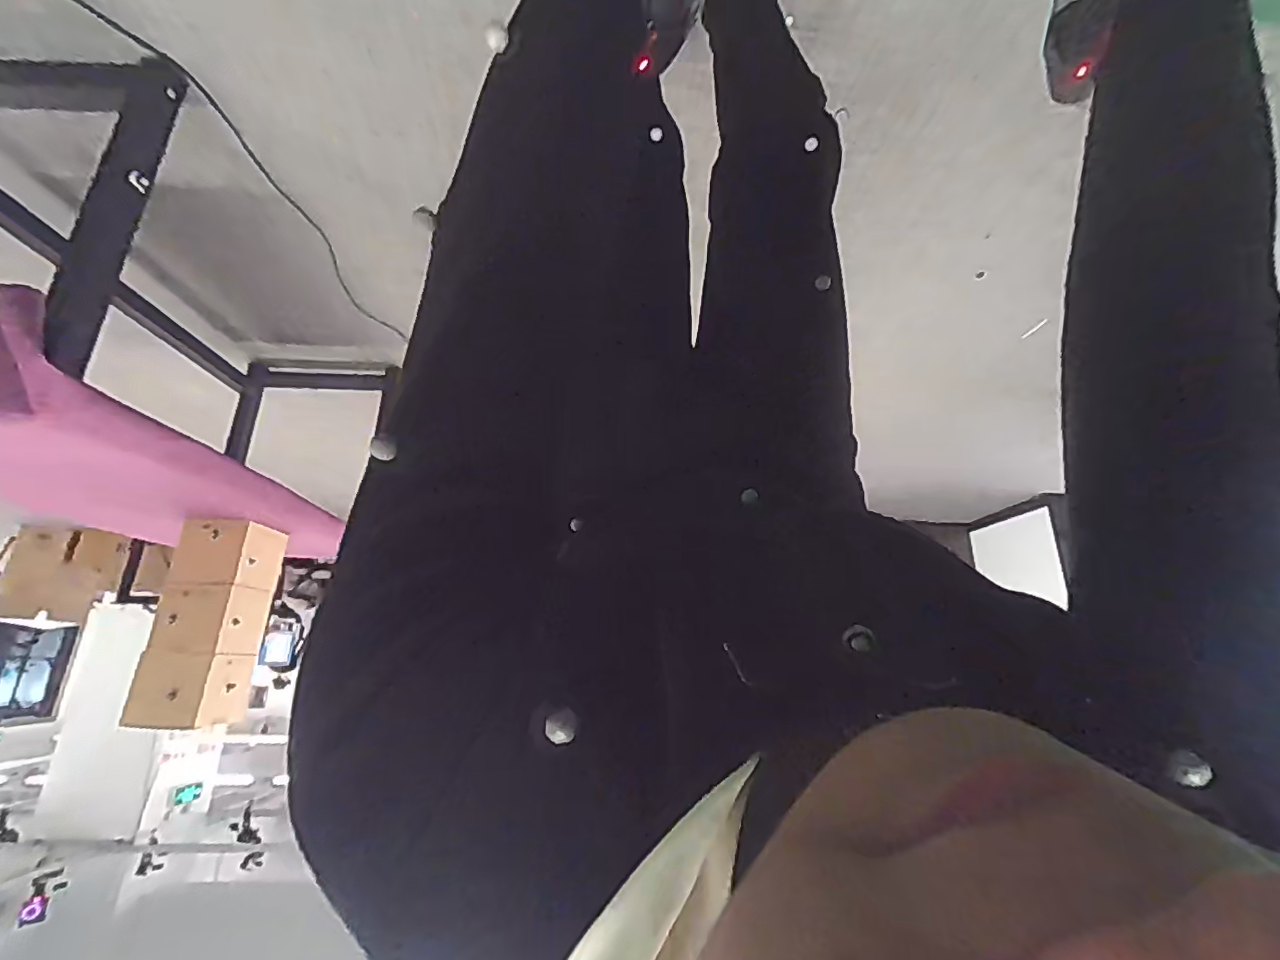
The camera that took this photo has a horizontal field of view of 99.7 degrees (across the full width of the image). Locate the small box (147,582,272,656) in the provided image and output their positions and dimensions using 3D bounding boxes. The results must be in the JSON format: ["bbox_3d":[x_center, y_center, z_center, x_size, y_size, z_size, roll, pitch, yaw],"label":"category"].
[{"bbox_3d":[-1.084,0.357,1.378,0.168,0.176,0.179,3,161,-2],"label":"small box"}]

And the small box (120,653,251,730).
[{"bbox_3d":[-1.096,0.510,1.324,0.179,0.176,0.168,2,160,-1],"label":"small box"}]
